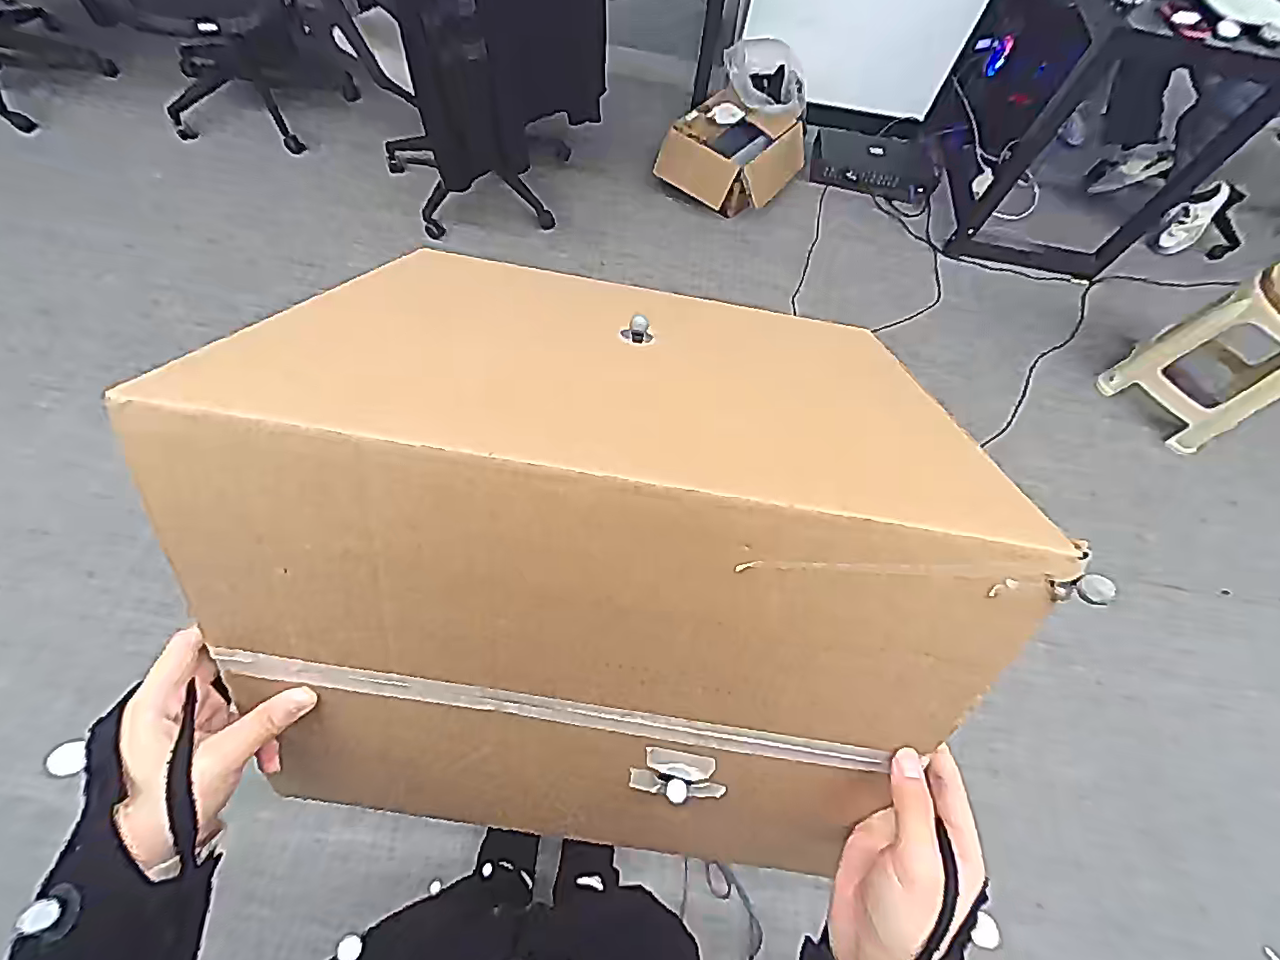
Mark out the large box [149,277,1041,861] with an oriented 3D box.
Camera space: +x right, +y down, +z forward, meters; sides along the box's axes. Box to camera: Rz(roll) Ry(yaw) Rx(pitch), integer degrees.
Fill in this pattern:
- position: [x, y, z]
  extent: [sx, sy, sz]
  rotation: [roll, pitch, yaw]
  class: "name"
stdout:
- position: [-0.030, 0.047, 0.439]
  extent: [0.408, 0.320, 0.320]
  rotation: [9, 34, -2]
  class: "large box"
